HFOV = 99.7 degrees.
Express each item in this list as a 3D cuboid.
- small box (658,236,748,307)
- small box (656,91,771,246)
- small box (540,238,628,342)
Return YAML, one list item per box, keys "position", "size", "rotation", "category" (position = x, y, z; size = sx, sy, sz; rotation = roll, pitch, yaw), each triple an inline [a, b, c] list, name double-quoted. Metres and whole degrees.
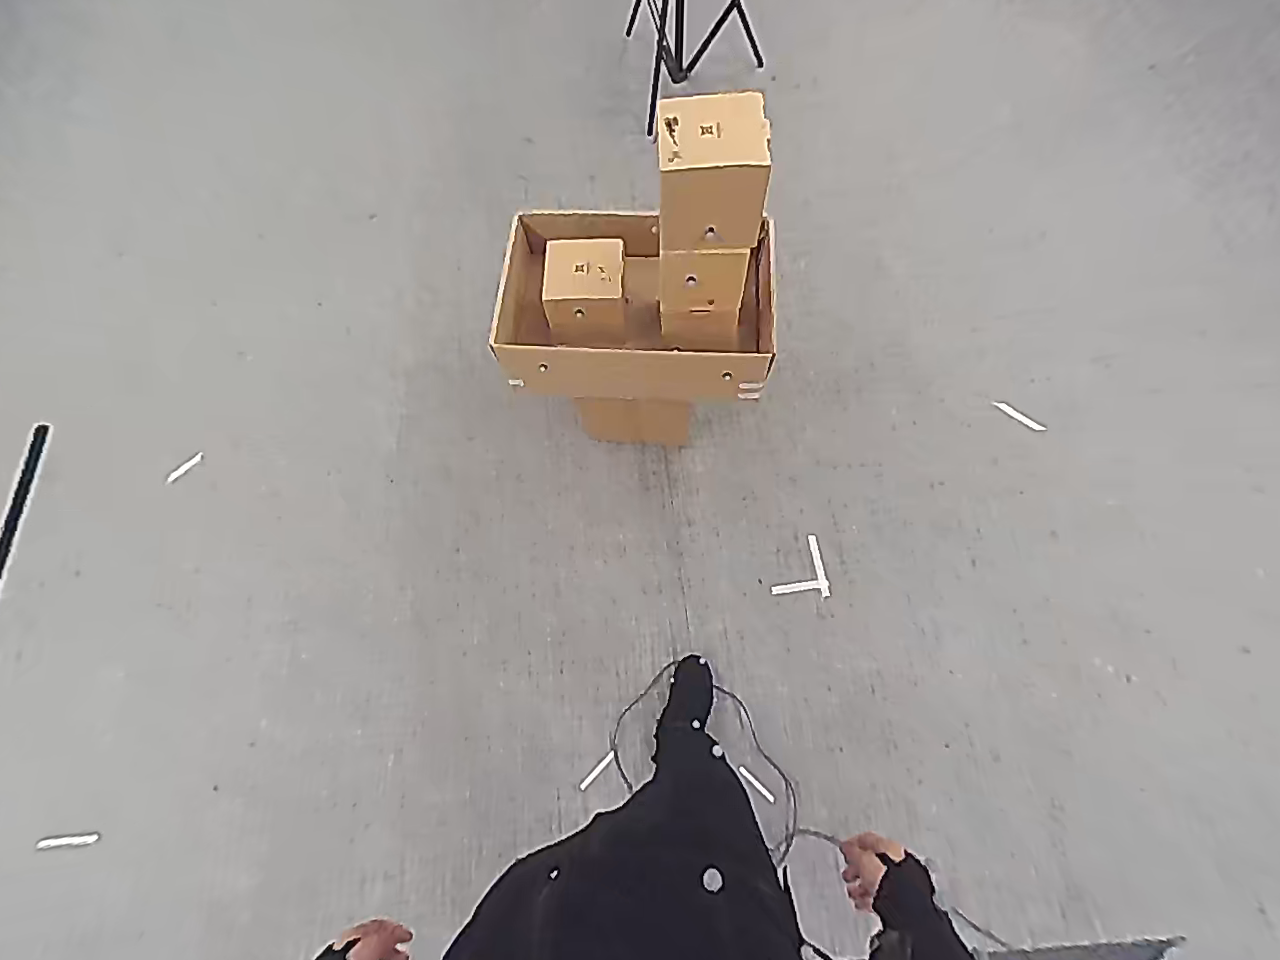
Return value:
- position: [0.123, -0.465, 1.080]
  size: [0.168, 0.176, 0.179]
  rotation: [1, 69, 3]
  category: "small box"
- position: [0.116, -0.526, 0.928]
  size: [0.179, 0.176, 0.168]
  rotation: [-1, 68, 2]
  category: "small box"
- position: [-0.123, -0.435, 1.256]
  size: [0.179, 0.176, 0.168]
  rotation: [0, 70, 3]
  category: "small box"
